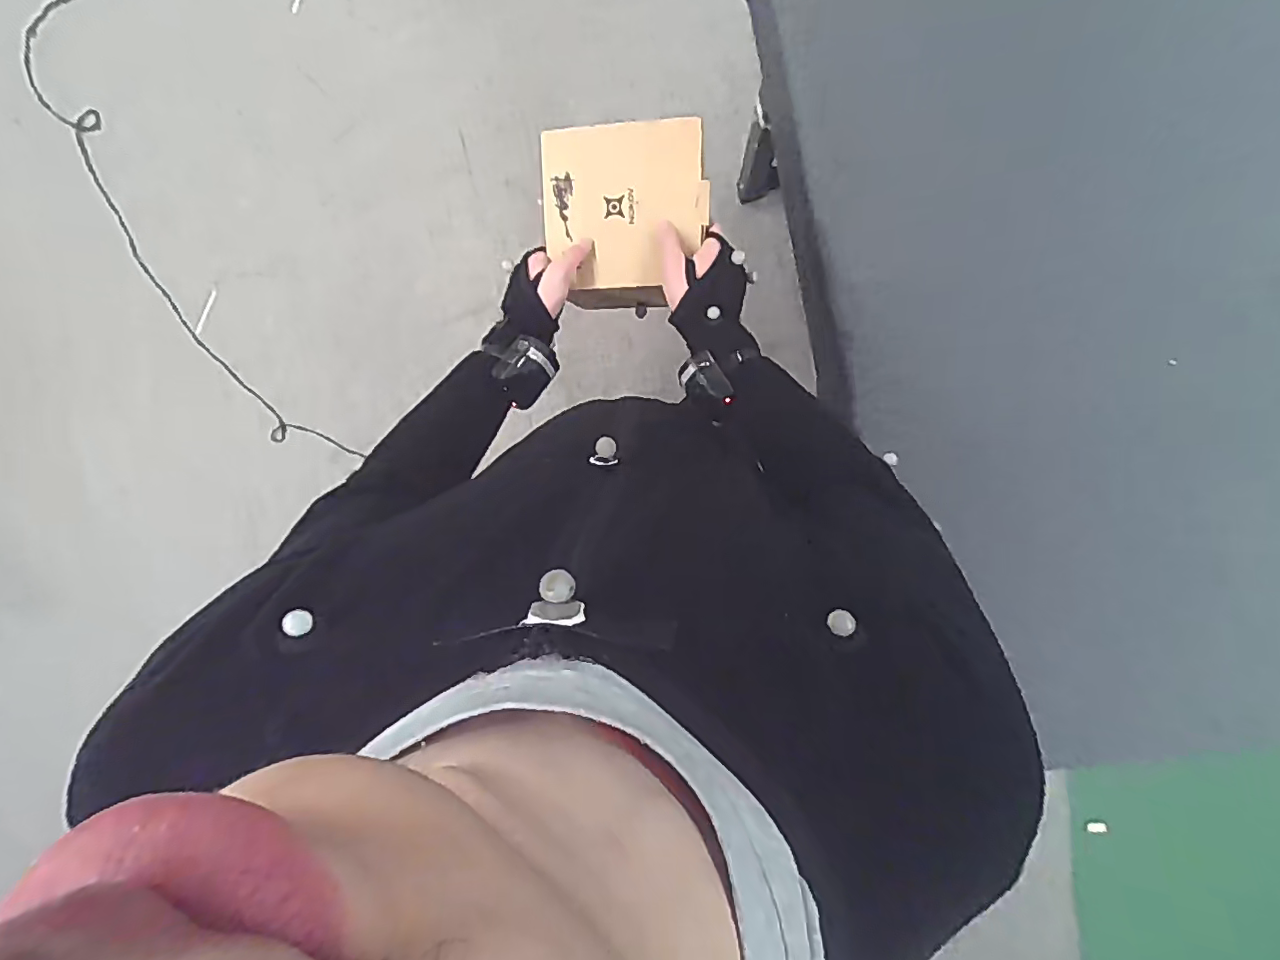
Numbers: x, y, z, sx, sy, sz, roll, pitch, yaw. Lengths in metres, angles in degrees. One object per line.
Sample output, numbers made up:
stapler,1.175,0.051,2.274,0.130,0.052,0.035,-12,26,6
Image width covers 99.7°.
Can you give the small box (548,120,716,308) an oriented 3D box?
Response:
small box,-0.002,-0.302,0.647,0.179,0.176,0.168,1,101,6
